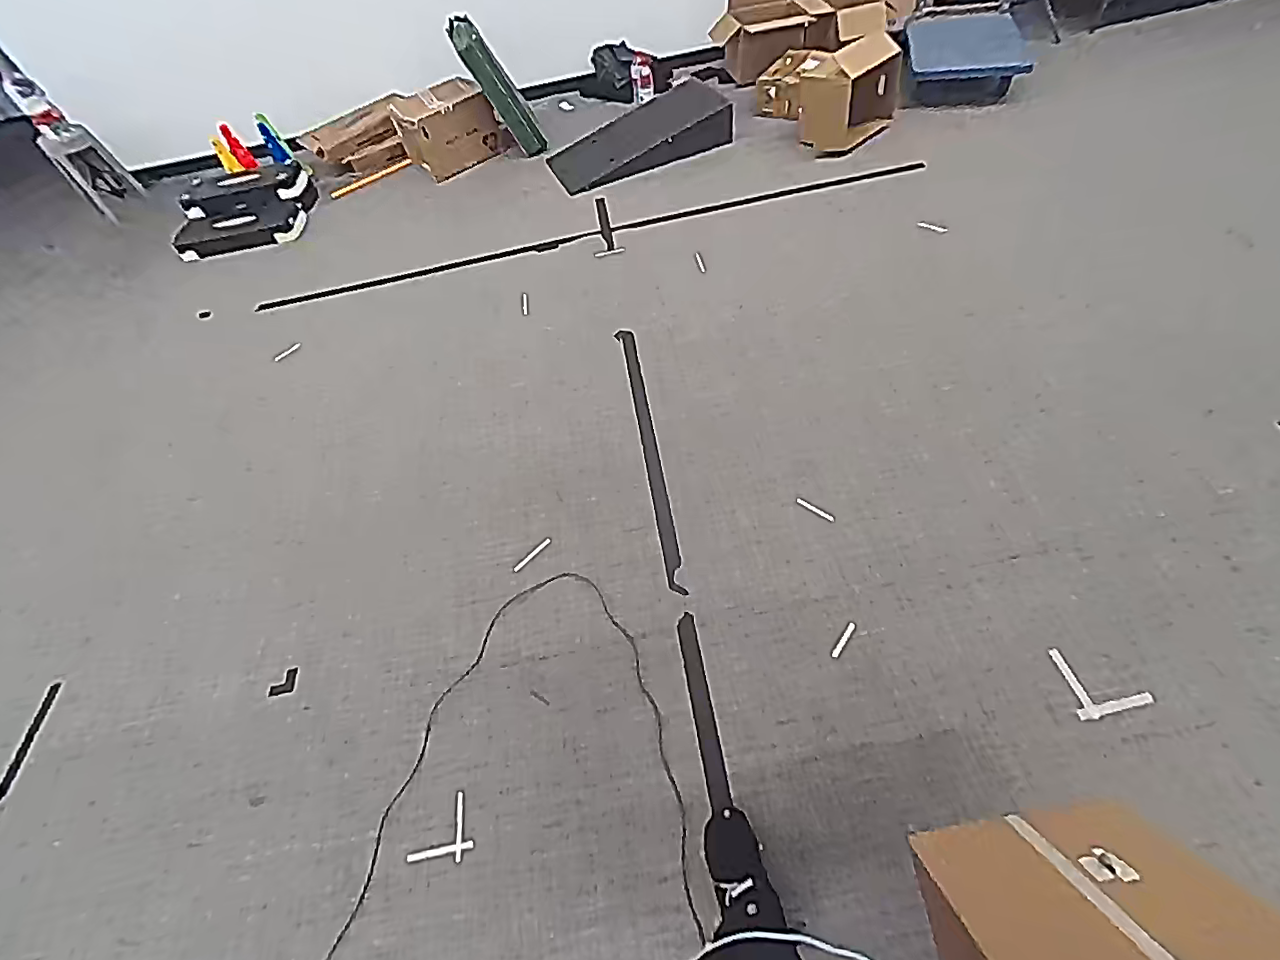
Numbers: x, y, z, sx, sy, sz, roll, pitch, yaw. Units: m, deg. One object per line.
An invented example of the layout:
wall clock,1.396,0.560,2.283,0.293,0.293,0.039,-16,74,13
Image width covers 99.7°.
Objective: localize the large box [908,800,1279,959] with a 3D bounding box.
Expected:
large box,0.580,0.651,0.618,0.320,0.408,0.320,-12,85,4
